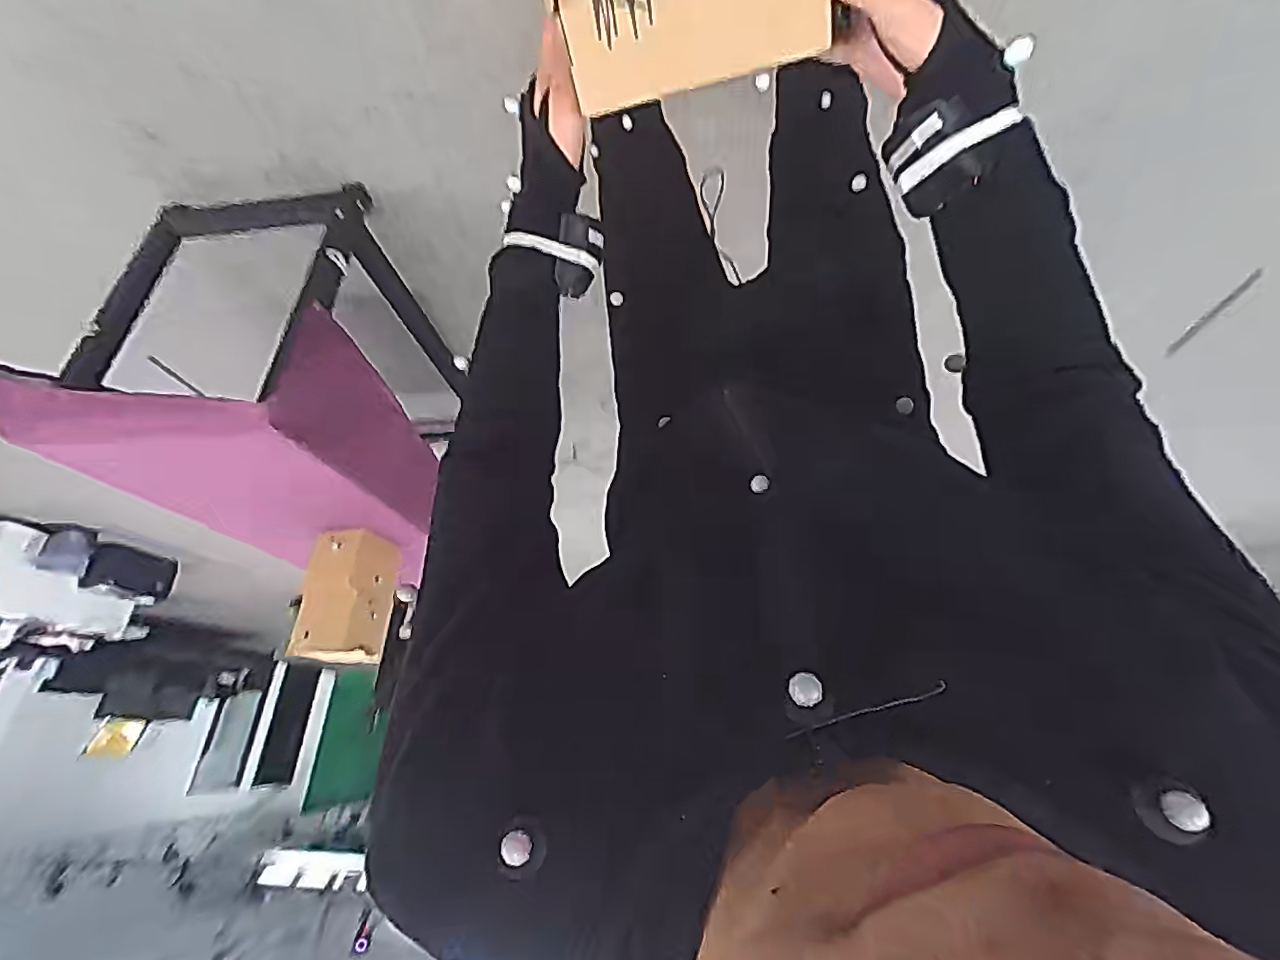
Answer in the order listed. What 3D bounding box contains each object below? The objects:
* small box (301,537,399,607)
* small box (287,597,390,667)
[{"bbox_3d":[-0.842,0.275,1.591,0.168,0.176,0.179,-7,152,16],"label":"small box"},{"bbox_3d":[-0.848,0.432,1.538,0.179,0.176,0.168,-5,154,11],"label":"small box"}]
